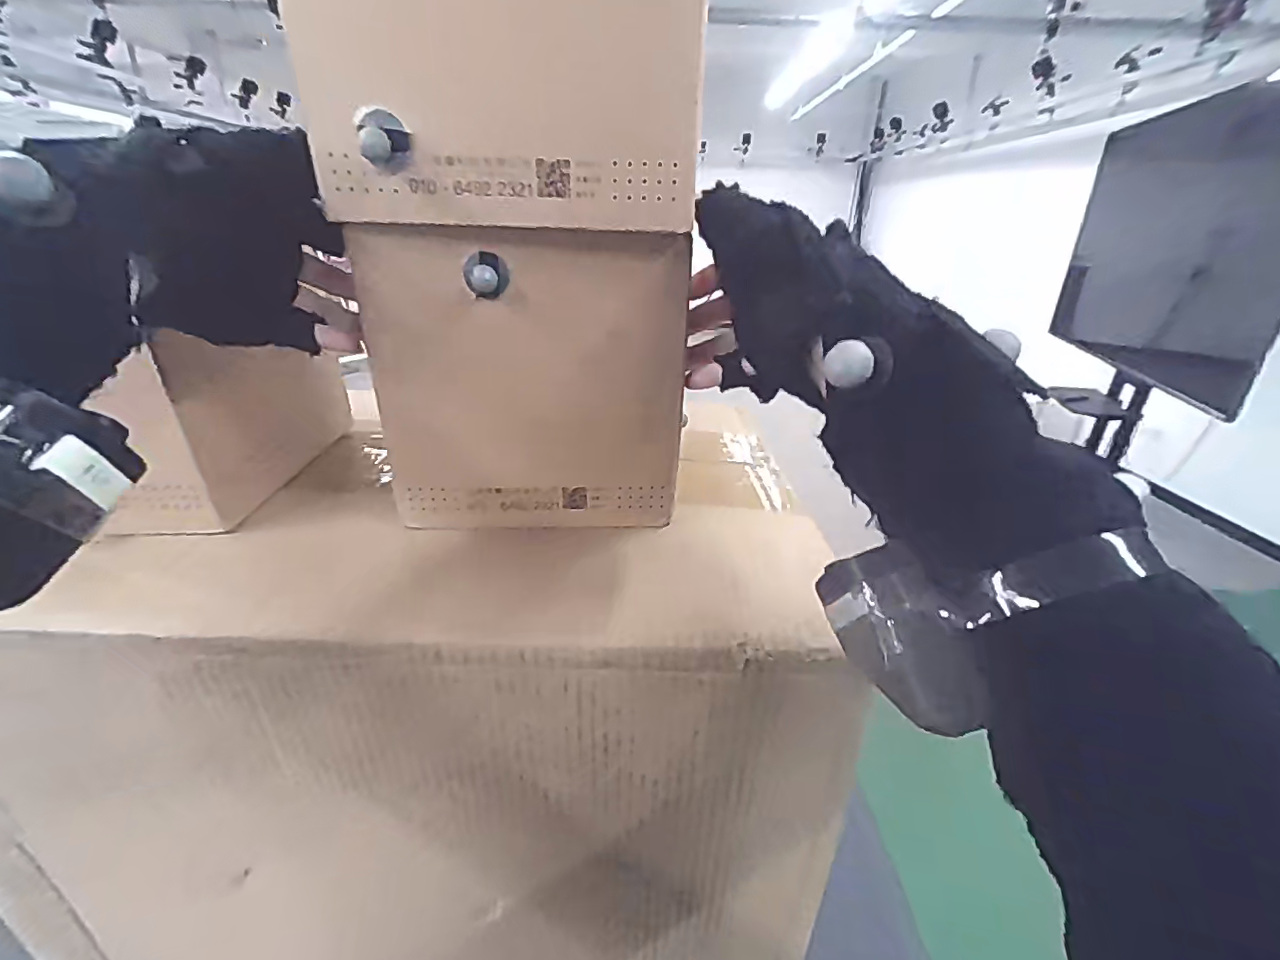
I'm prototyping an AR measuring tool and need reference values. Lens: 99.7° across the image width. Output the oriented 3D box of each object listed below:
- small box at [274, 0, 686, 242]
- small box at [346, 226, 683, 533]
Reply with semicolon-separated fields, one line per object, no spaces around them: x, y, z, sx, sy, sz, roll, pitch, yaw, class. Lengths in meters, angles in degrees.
-0.061;-0.220;0.281;0.168;0.176;0.179;2;27;1;small box
-0.066;-0.079;0.369;0.168;0.176;0.179;-1;27;-3;small box
